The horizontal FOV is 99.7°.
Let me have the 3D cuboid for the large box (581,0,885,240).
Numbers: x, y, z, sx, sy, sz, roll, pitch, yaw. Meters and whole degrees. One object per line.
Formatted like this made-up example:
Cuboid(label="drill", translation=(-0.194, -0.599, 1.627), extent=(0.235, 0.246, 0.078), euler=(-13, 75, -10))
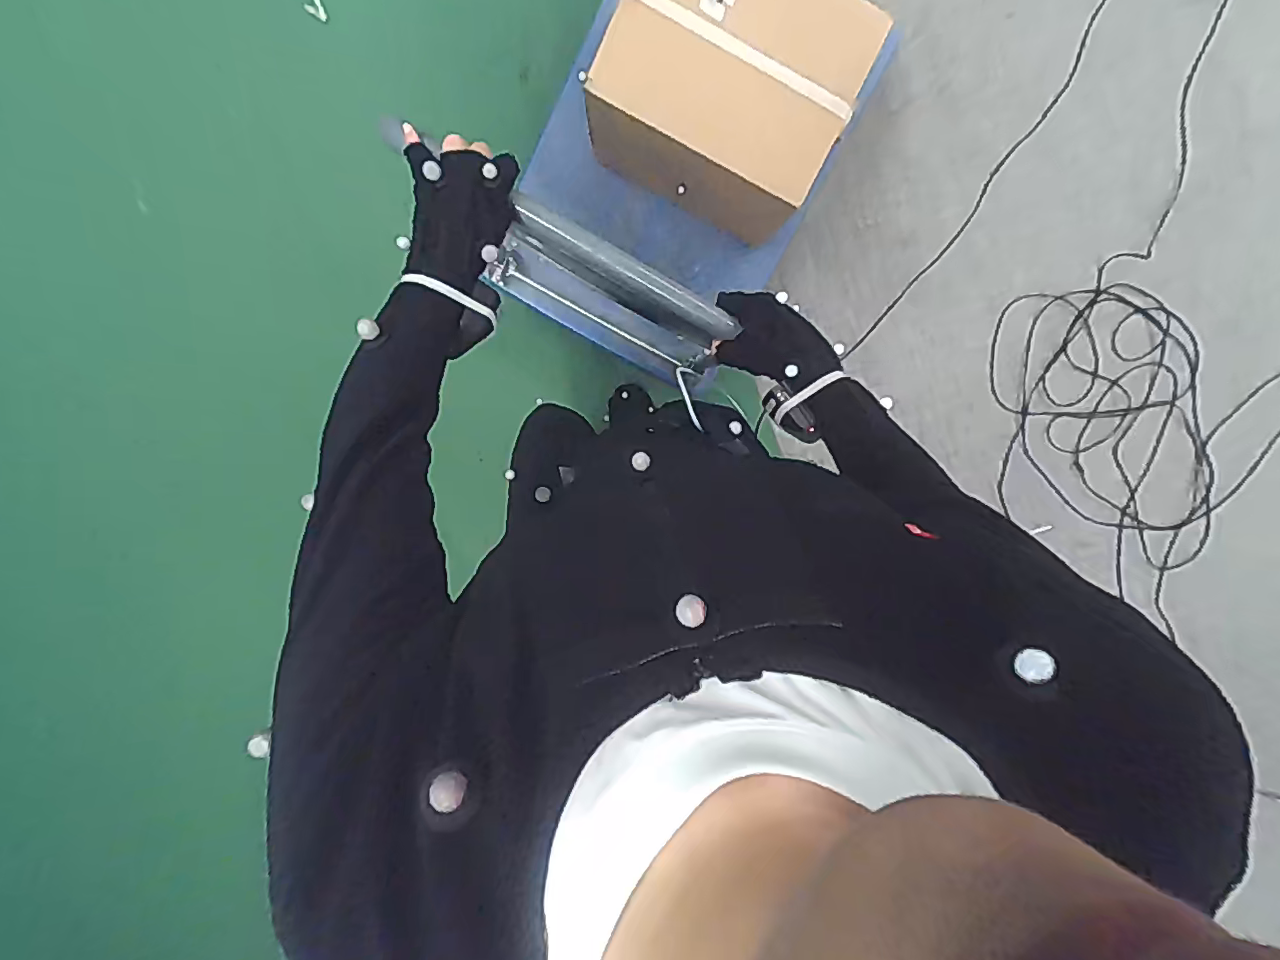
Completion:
Cuboid(label="large box", translation=(0.148, -0.710, 1.007), extent=(0.408, 0.320, 0.320), euler=(25, 99, -6))
